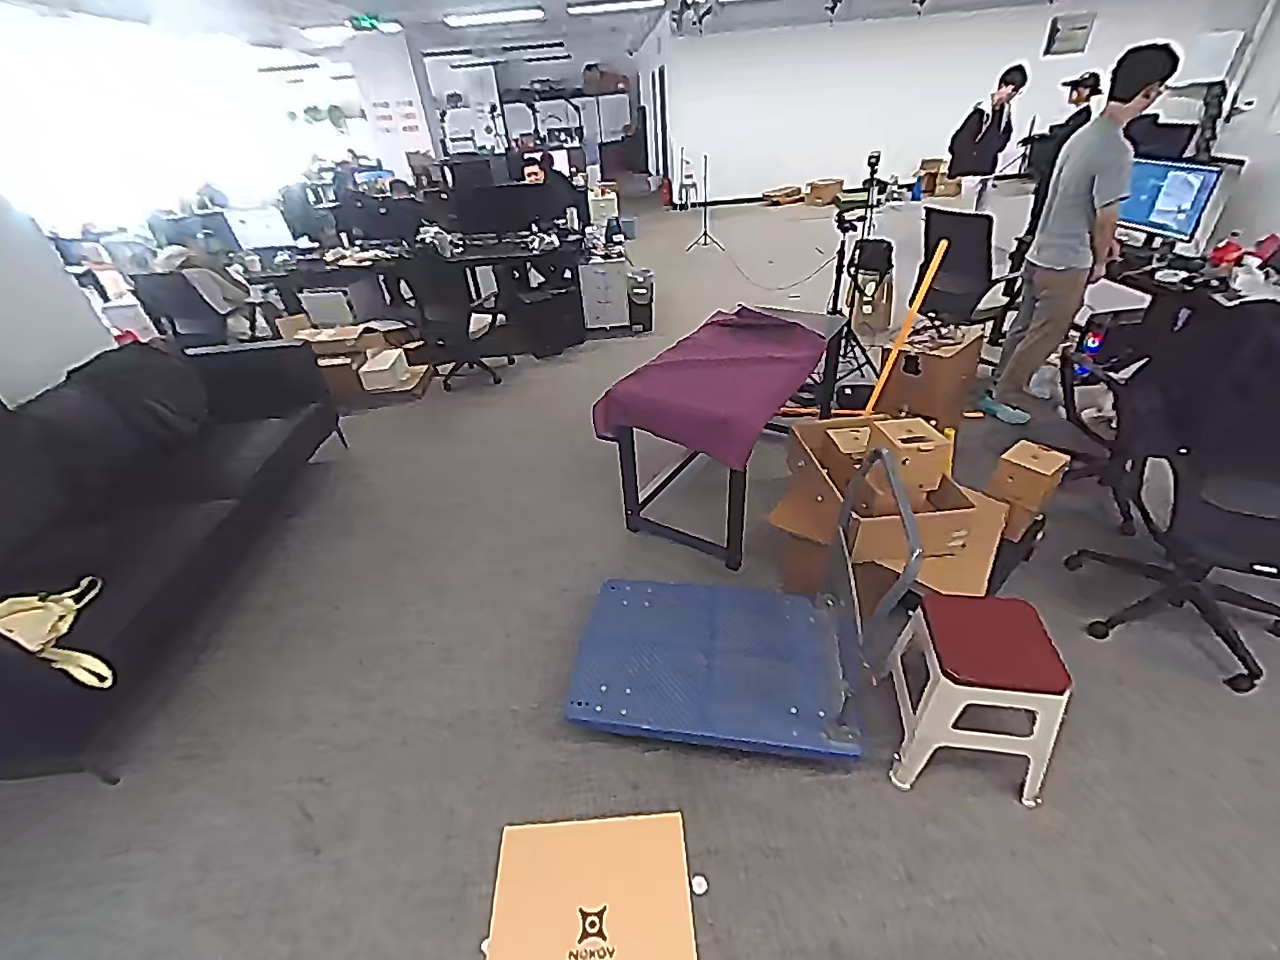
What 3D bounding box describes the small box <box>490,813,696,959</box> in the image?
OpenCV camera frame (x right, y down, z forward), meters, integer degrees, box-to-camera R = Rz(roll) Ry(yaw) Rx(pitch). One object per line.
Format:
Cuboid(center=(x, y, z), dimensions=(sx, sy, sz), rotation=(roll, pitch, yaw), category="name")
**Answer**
Cuboid(center=(-0.035, 0.432, 0.485), dimensions=(0.168, 0.176, 0.179), rotation=(-4, 37, 0), category="small box")
